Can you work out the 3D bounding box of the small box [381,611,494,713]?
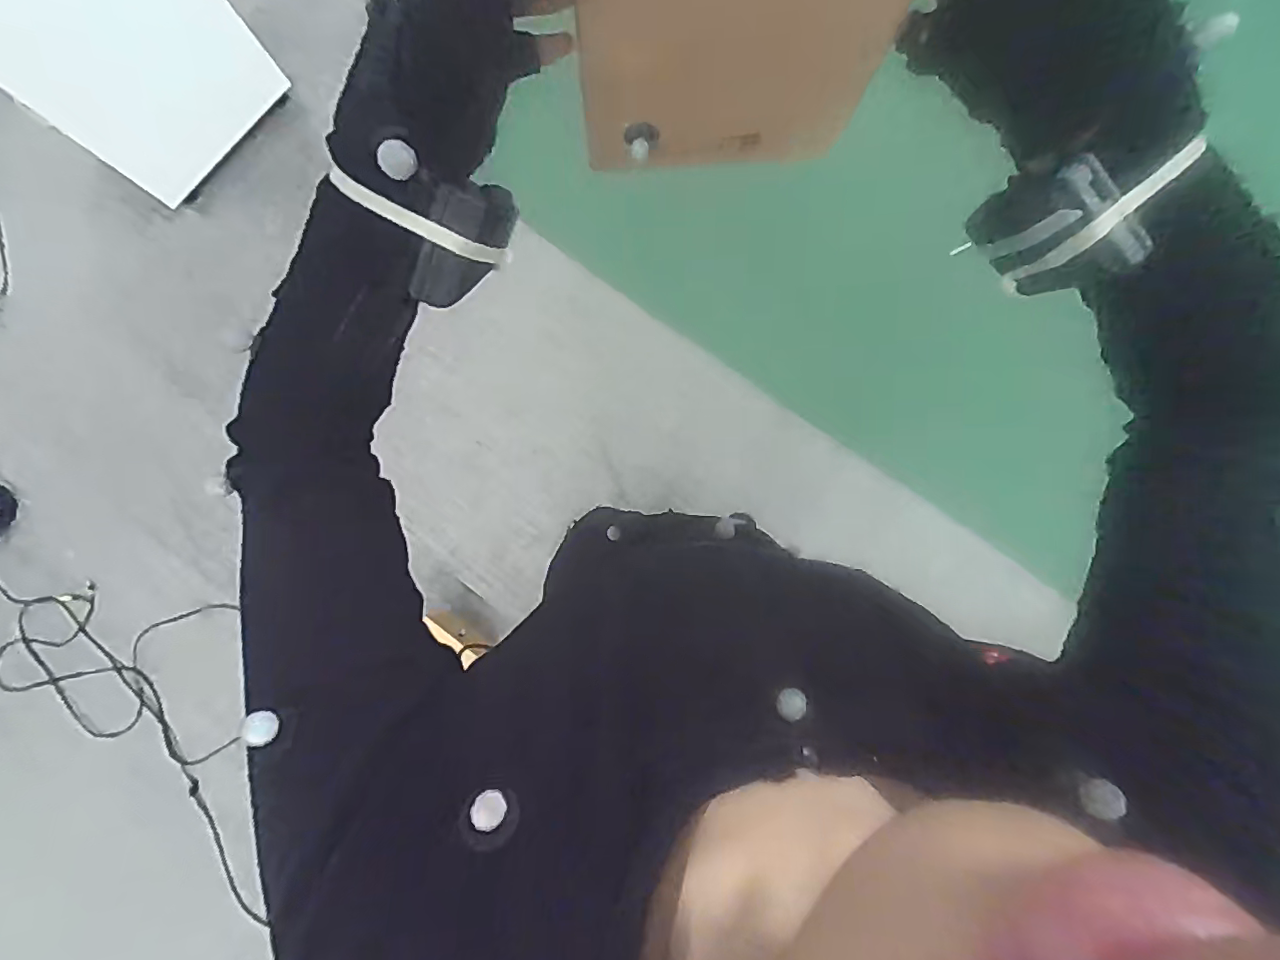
[{"bbox_3d":[-0.502,0.447,1.365,0.179,0.176,0.168,36,85,4],"label":"small box"}]
